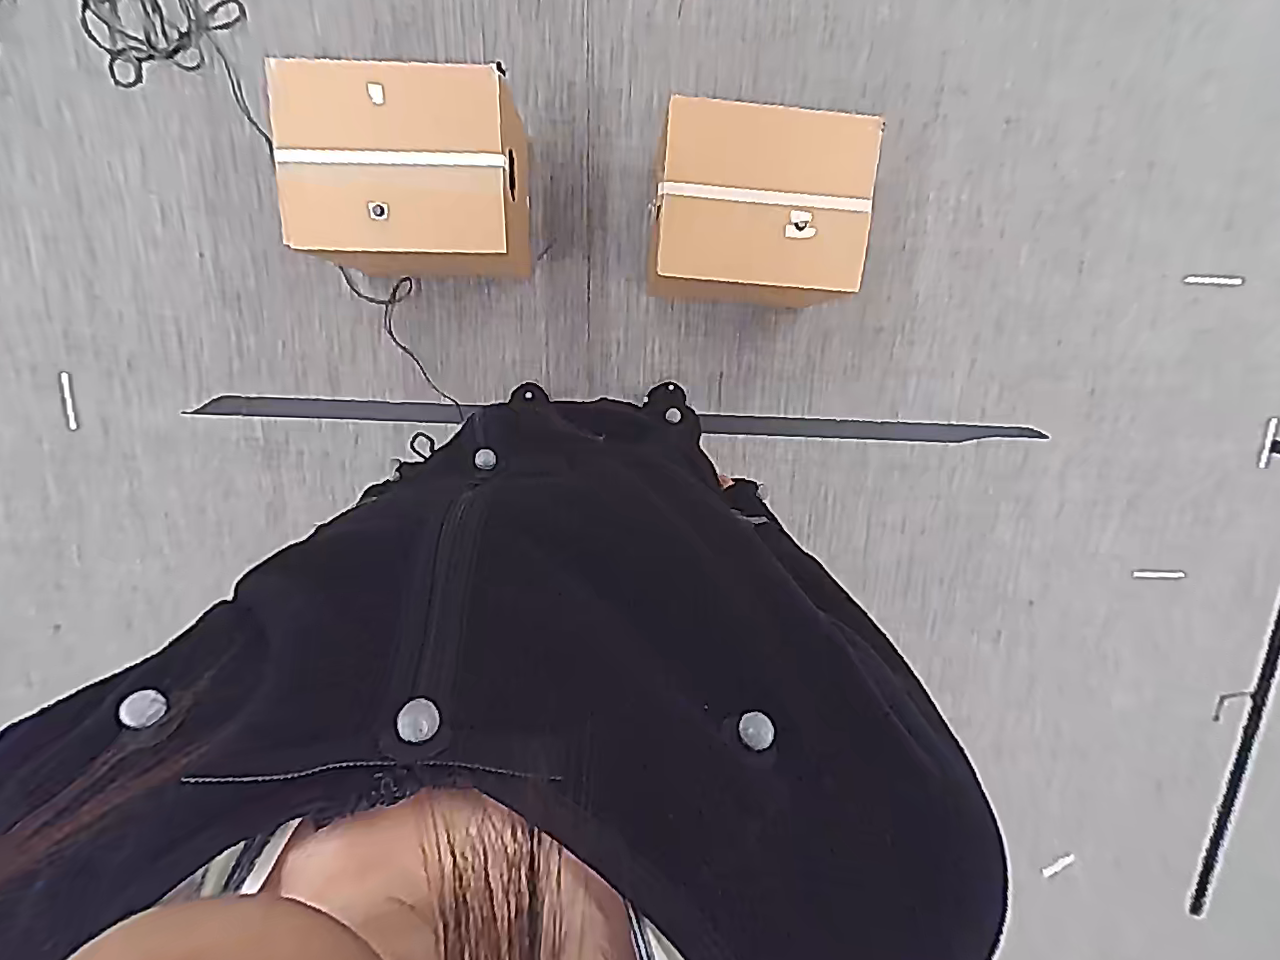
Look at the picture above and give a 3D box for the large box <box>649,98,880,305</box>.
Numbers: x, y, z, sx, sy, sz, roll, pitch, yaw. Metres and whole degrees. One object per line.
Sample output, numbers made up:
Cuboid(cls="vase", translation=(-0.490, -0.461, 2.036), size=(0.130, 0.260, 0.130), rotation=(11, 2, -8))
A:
Cuboid(cls="large box", translation=(0.236, -0.569, 1.176), size=(0.408, 0.320, 0.320), rotation=(4, 102, -5))
